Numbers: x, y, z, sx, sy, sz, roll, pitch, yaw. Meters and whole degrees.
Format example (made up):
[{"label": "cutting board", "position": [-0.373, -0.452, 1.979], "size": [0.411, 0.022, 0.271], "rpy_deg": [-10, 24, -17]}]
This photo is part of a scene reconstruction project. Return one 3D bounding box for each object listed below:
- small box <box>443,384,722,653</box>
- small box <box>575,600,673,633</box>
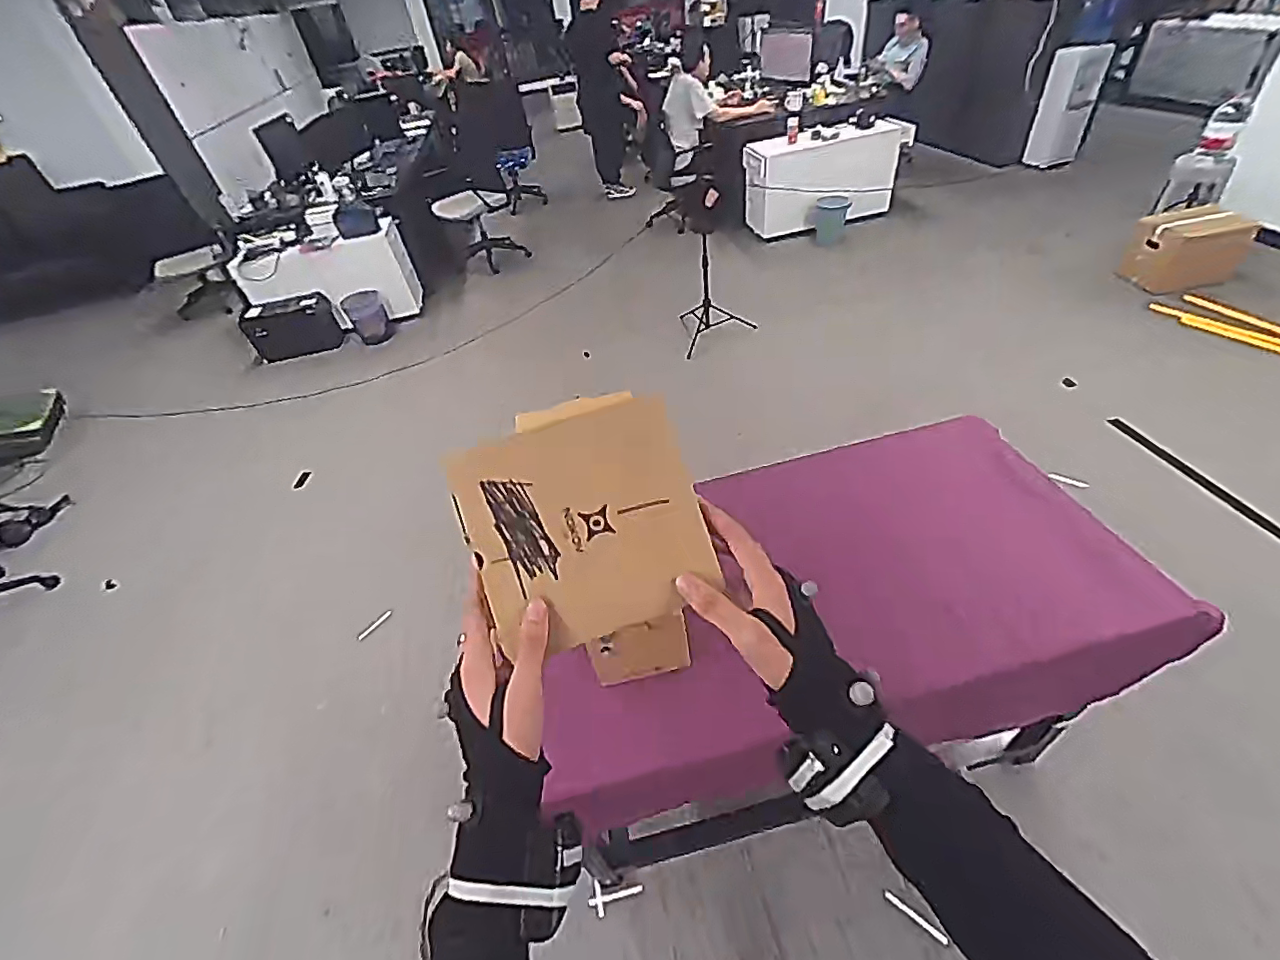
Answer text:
[{"label": "small box", "position": [-0.049, 0.034, 0.487], "size": [0.179, 0.176, 0.168], "rpy_deg": [-18, 87, -7]}, {"label": "small box", "position": [-0.049, 0.126, 0.866], "size": [0.179, 0.176, 0.168], "rpy_deg": [-9, 43, 1]}]
